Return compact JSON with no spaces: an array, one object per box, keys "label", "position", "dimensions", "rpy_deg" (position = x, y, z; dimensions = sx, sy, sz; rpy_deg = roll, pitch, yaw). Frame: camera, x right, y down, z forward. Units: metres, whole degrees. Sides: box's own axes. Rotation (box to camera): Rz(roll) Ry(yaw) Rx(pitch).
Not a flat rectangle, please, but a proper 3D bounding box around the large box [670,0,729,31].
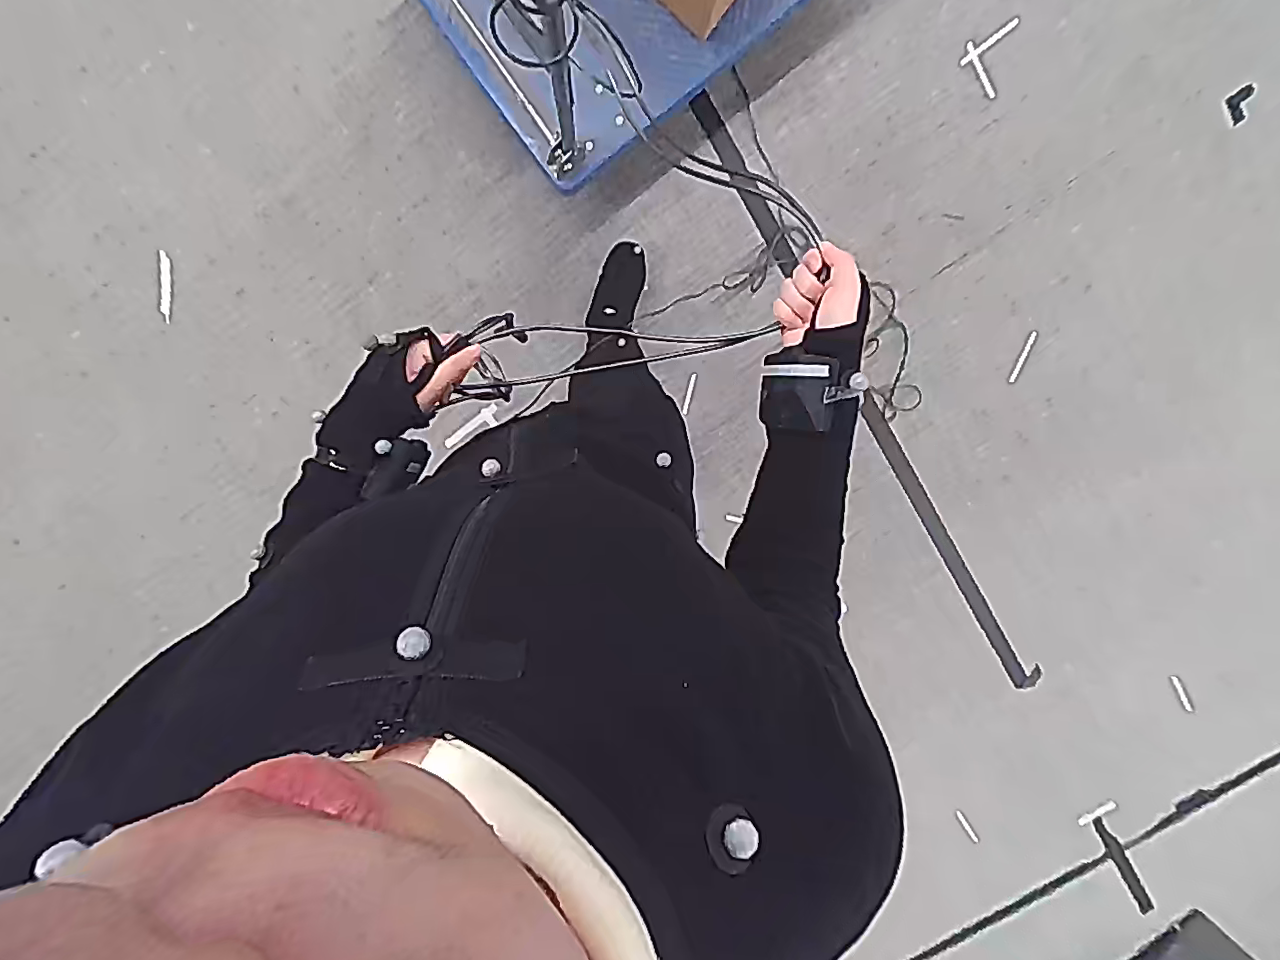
[{"label":"large box","position":[0.073,-1.080,0.872],"dimensions":[0.408,0.320,0.320],"rpy_deg":[36,101,-12]}]
